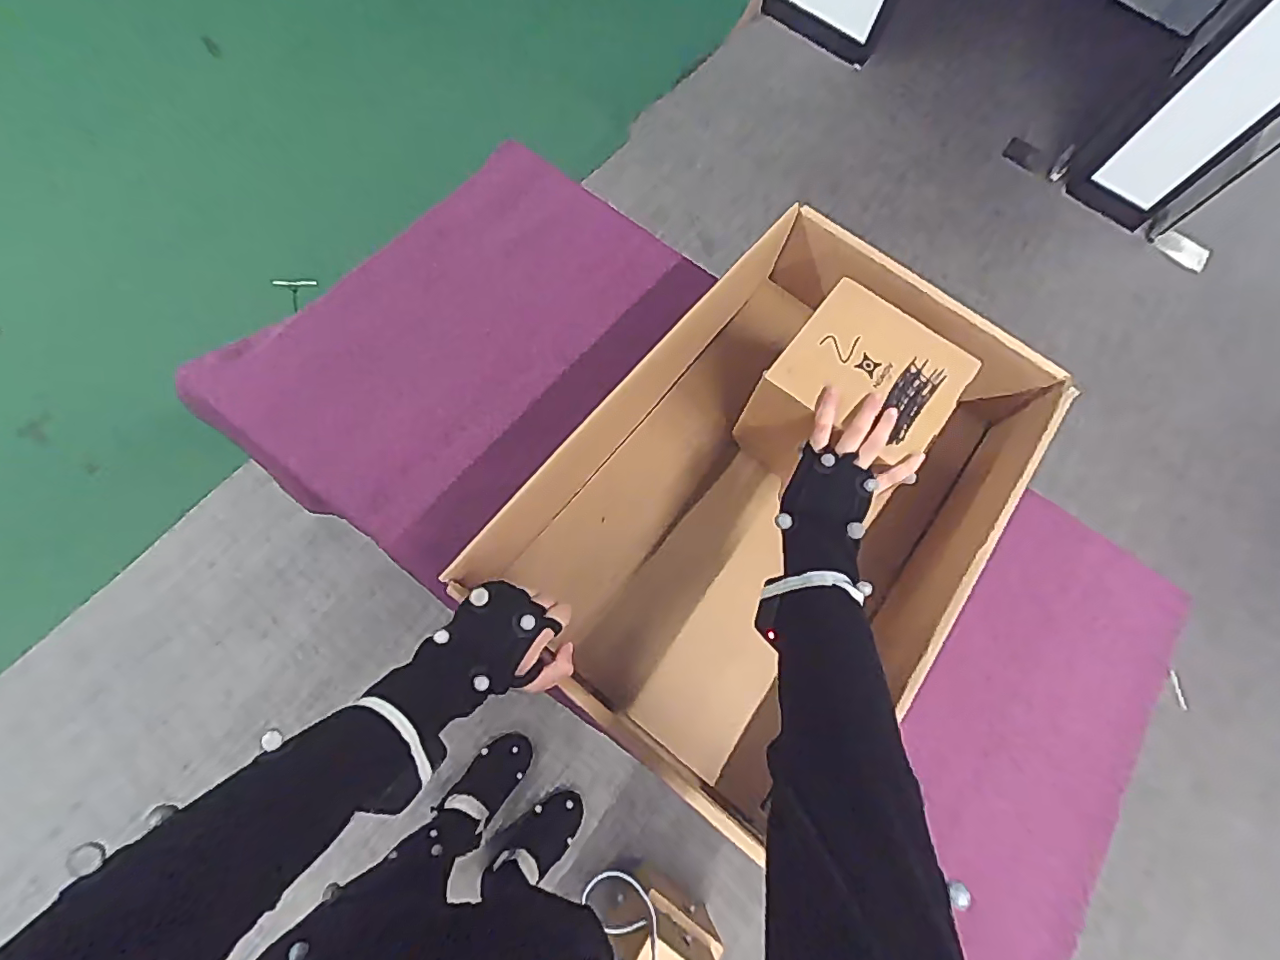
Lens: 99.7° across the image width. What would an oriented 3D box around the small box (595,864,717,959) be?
[{"bbox_3d":[0.025,0.928,1.094,0.179,0.176,0.168,36,71,8],"label":"small box"}]
